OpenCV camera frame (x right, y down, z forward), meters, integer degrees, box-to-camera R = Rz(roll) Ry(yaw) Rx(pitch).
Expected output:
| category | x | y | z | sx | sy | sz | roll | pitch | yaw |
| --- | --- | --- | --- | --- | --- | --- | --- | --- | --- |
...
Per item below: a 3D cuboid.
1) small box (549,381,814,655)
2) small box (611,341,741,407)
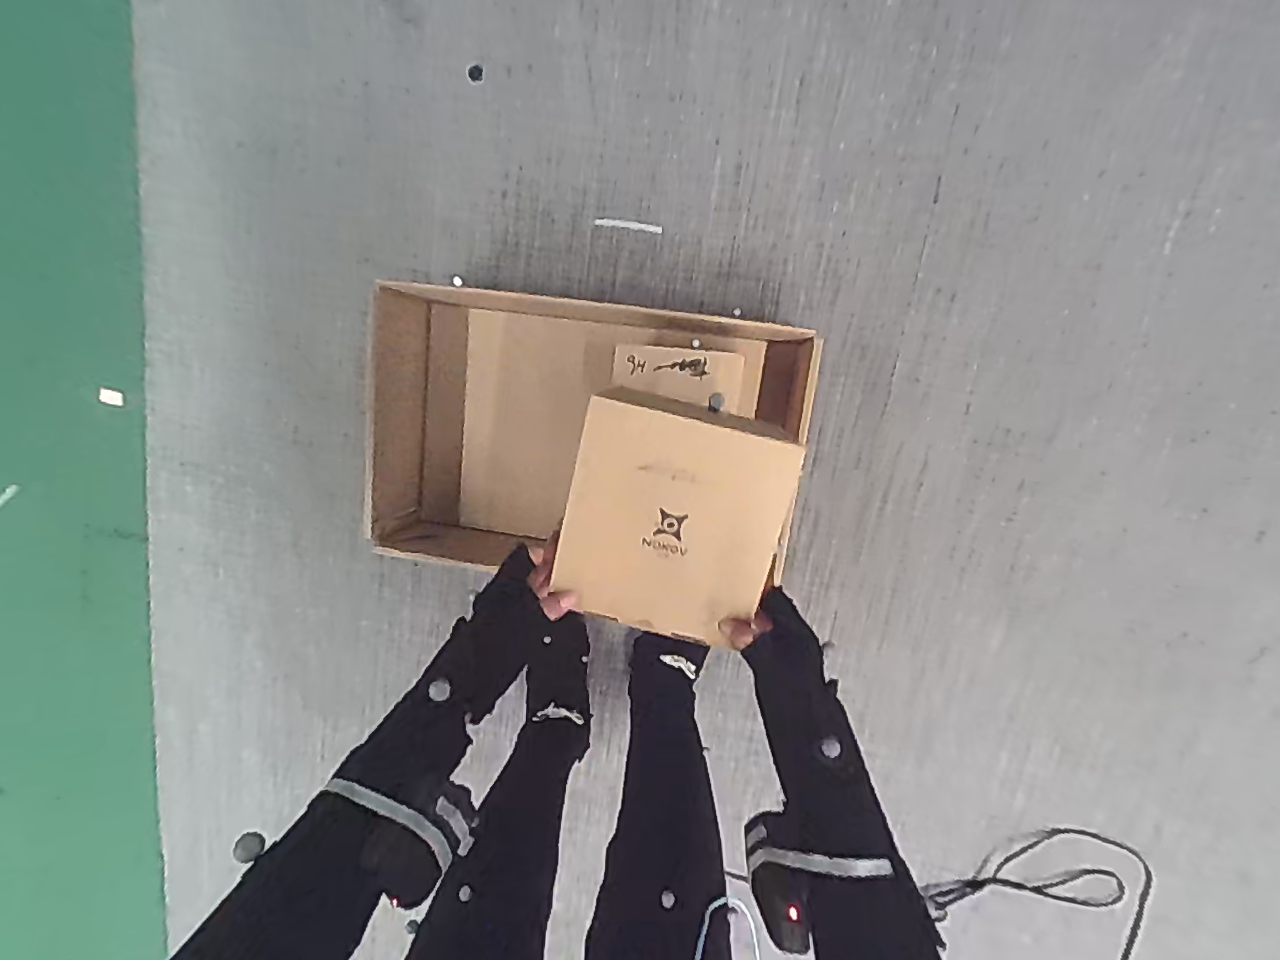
| category | x | y | z | sx | sy | sz | roll | pitch | yaw |
| --- | --- | --- | --- | --- | --- | --- | --- | --- | --- |
| small box | 0.033 | 0.018 | 0.478 | 0.168 | 0.176 | 0.179 | 14 | 103 | 2 |
| small box | 0.054 | -0.101 | 0.770 | 0.168 | 0.176 | 0.179 | 5 | 101 | 9 |
